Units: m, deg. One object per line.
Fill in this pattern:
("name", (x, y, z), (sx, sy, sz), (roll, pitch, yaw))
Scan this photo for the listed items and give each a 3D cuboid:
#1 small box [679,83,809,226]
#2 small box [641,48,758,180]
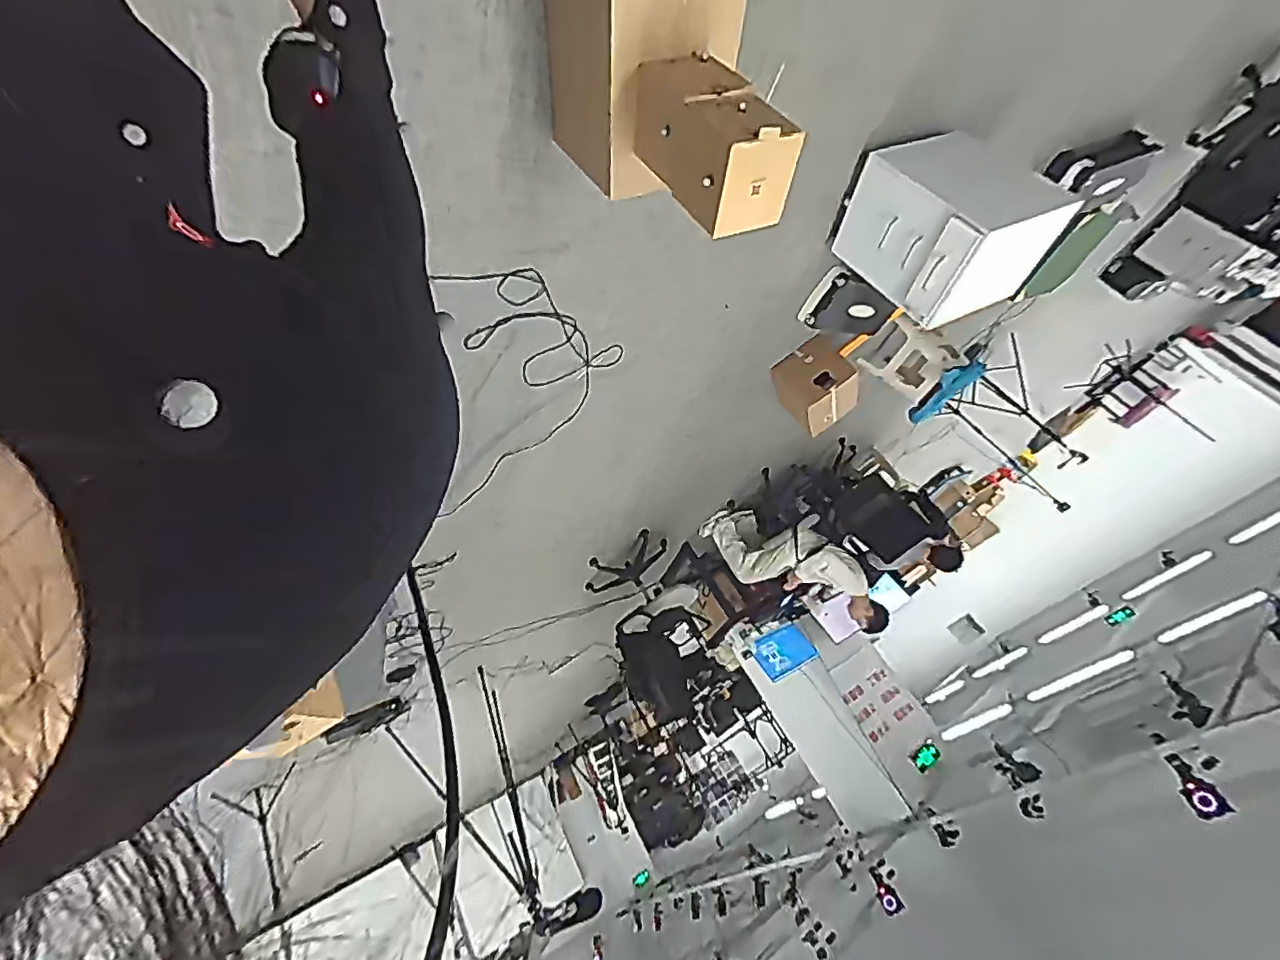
("small box", (0.191, -0.632, 1.052), (0.168, 0.176, 0.179), (-22, 150, -19))
("small box", (0.113, -0.761, 1.117), (0.168, 0.176, 0.179), (-23, 151, -18))
